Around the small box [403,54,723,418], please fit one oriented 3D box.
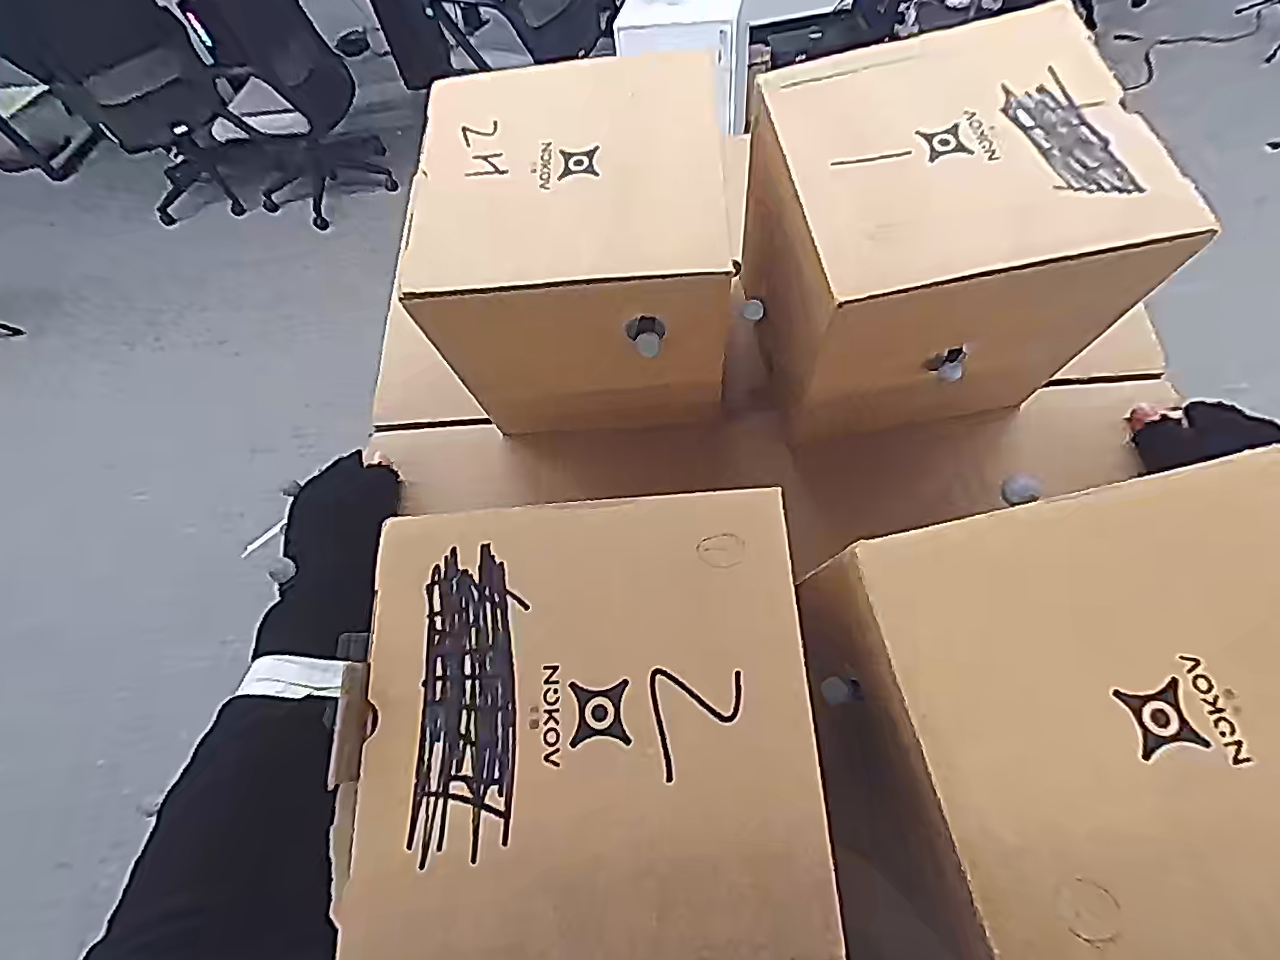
[{"bbox_3d":[-0.036,-0.155,0.388,0.179,0.176,0.168,-2,69,6],"label":"small box"}]
